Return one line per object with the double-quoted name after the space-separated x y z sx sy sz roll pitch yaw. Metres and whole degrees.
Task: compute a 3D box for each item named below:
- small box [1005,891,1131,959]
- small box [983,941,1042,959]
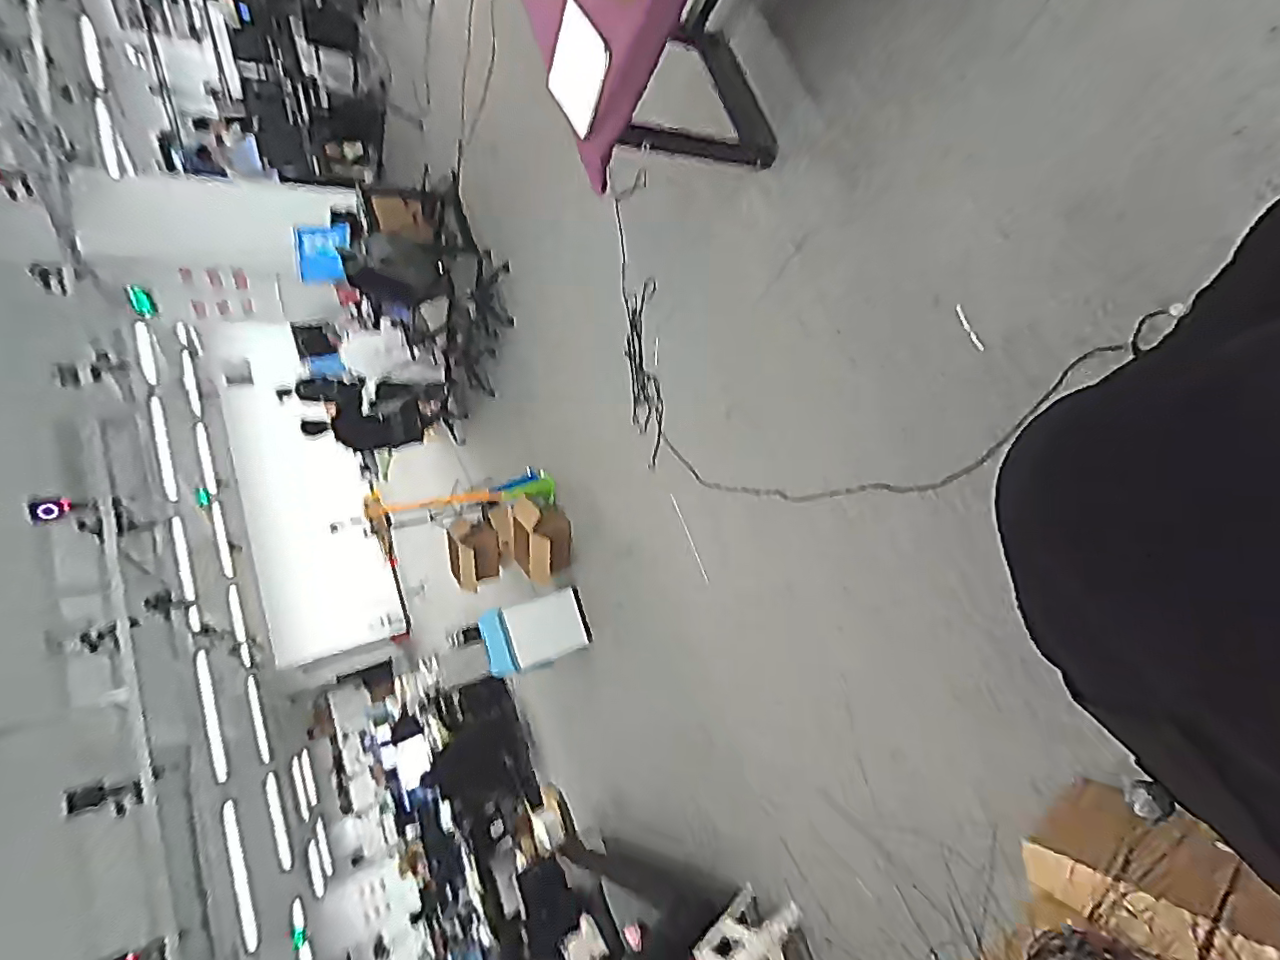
0.912 1.038 1.143 0.168 0.176 0.179 -5 98 57 "small box"
0.774 1.073 1.064 0.179 0.176 0.168 -2 100 57 "small box"
